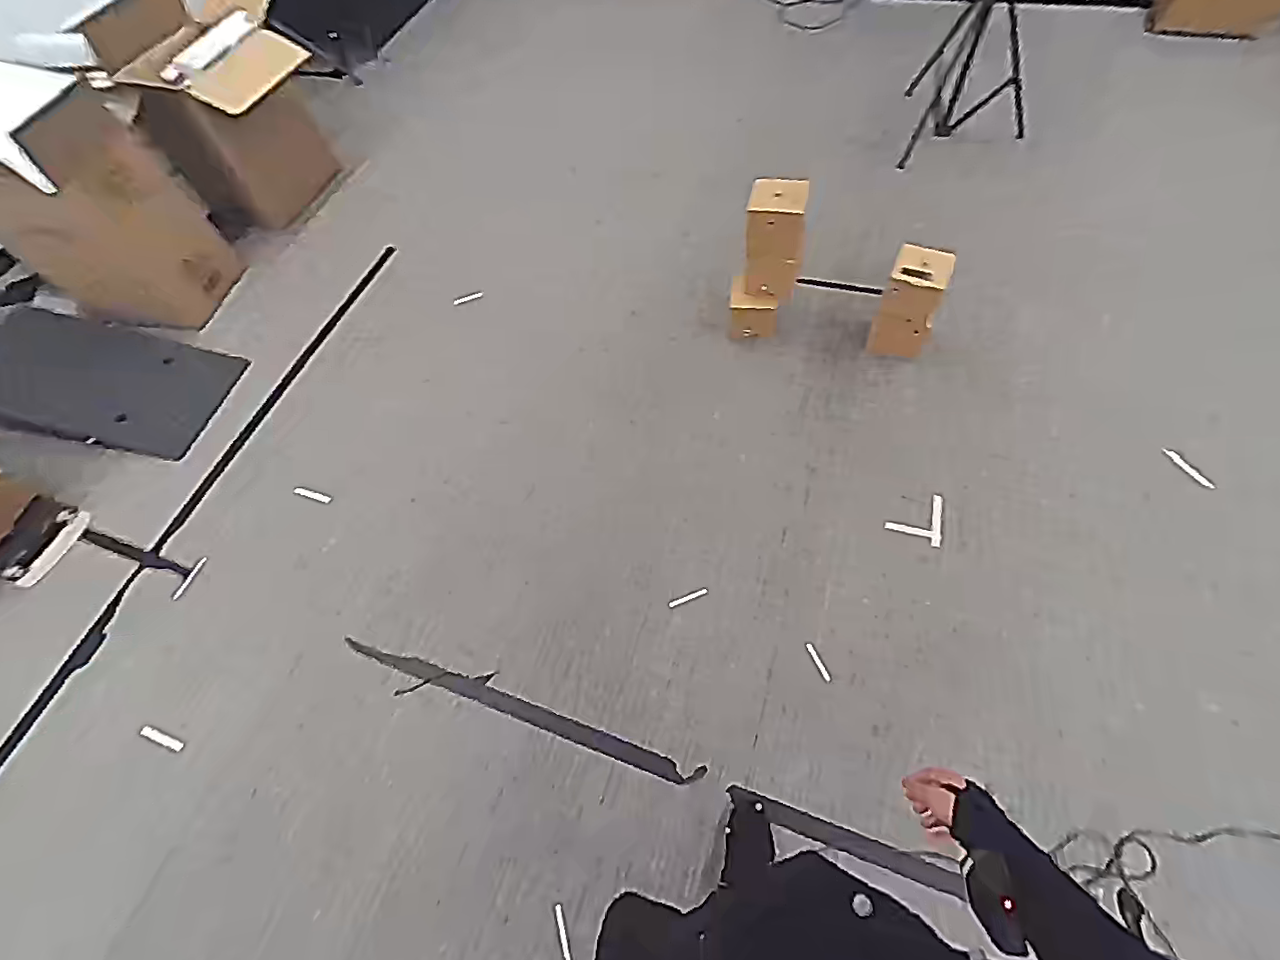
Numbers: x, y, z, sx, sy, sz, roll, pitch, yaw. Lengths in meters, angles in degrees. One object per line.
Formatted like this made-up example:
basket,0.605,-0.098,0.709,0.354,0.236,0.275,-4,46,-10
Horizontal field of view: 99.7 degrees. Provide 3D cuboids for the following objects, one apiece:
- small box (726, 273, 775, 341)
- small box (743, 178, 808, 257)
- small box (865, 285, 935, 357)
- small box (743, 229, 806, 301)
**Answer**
small box,0.412,-0.646,2.019,0.168,0.176,0.179,4,62,9
small box,0.434,-0.846,1.751,0.179,0.176,0.168,10,62,13
small box,0.915,-0.560,1.917,0.179,0.176,0.168,15,64,13
small box,0.465,-0.762,1.890,0.168,0.176,0.179,17,64,16
